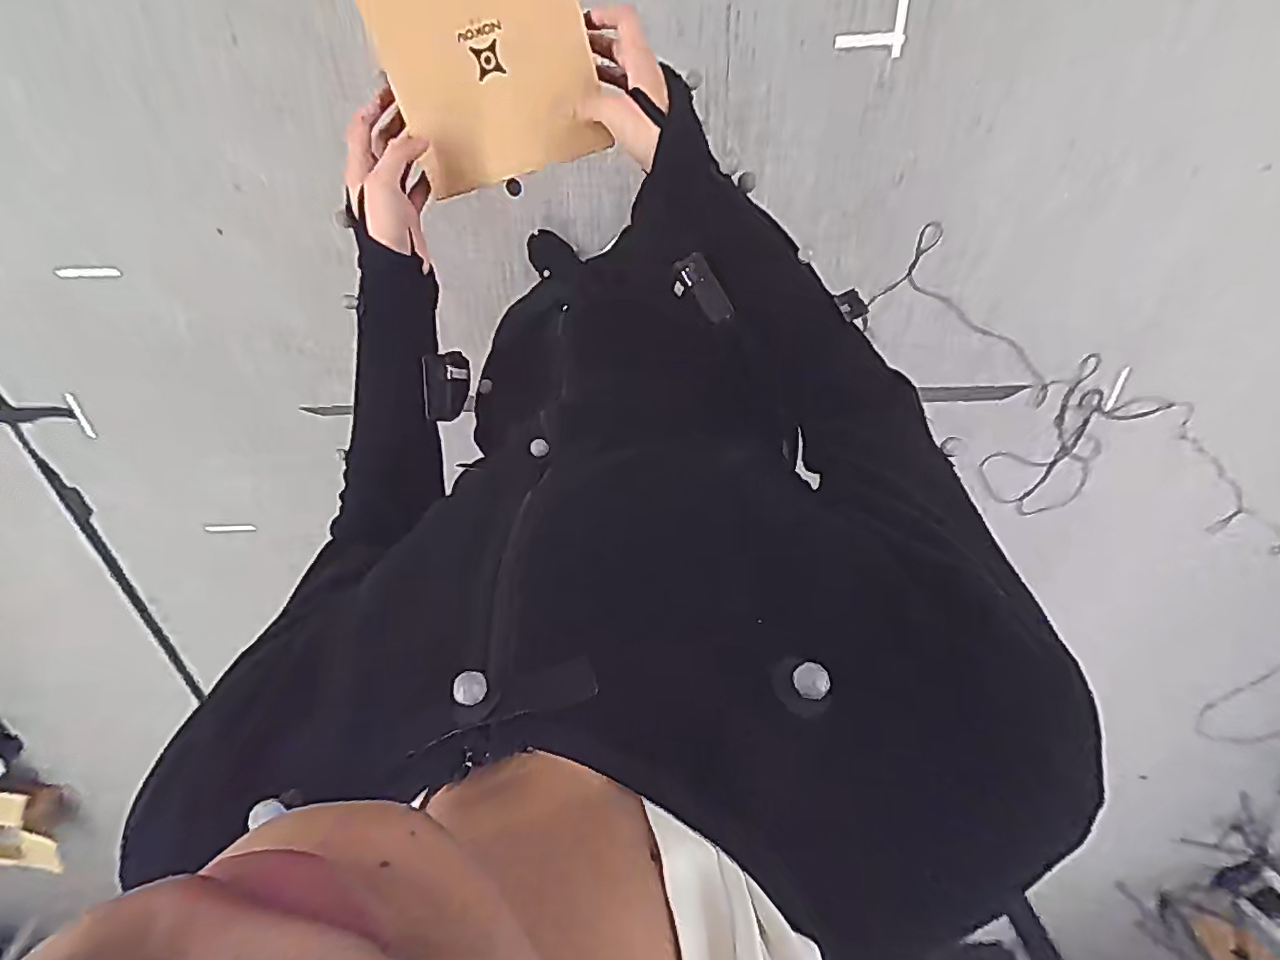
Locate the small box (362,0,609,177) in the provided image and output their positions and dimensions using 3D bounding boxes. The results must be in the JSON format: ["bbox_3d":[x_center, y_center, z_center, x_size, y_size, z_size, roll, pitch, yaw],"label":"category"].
[{"bbox_3d":[-0.129,-0.390,0.484,0.168,0.176,0.179,-15,120,2],"label":"small box"}]
